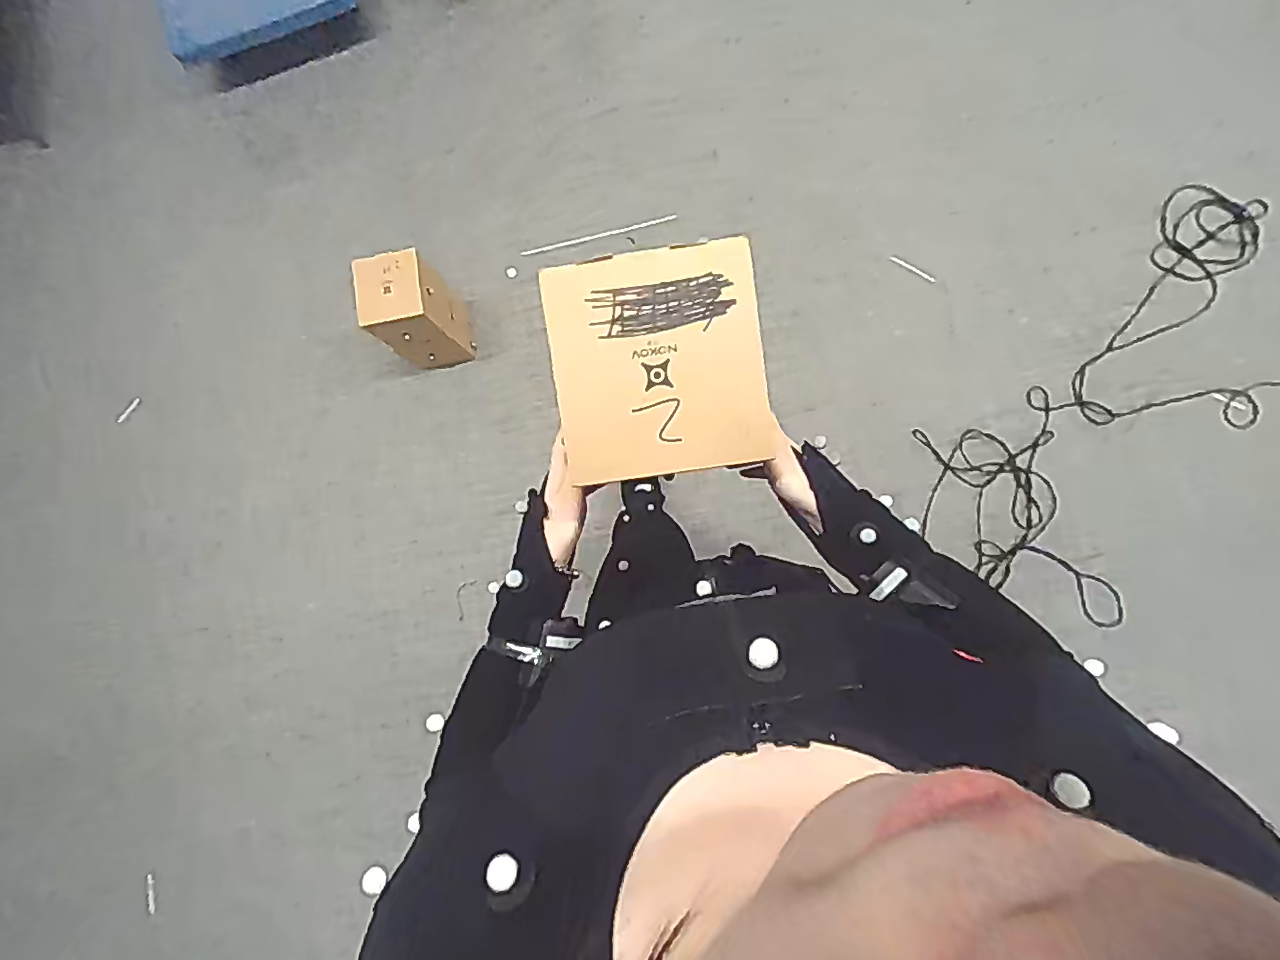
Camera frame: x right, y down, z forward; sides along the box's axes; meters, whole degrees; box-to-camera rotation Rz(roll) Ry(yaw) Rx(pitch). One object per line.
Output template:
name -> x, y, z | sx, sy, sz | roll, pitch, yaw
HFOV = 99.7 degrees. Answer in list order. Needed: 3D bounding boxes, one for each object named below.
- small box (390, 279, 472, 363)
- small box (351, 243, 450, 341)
small box -> -0.592, -0.446, 1.536 | 0.179, 0.176, 0.168 | -10, 84, 4
small box -> -0.599, -0.465, 1.372 | 0.168, 0.176, 0.179 | -9, 83, 3
